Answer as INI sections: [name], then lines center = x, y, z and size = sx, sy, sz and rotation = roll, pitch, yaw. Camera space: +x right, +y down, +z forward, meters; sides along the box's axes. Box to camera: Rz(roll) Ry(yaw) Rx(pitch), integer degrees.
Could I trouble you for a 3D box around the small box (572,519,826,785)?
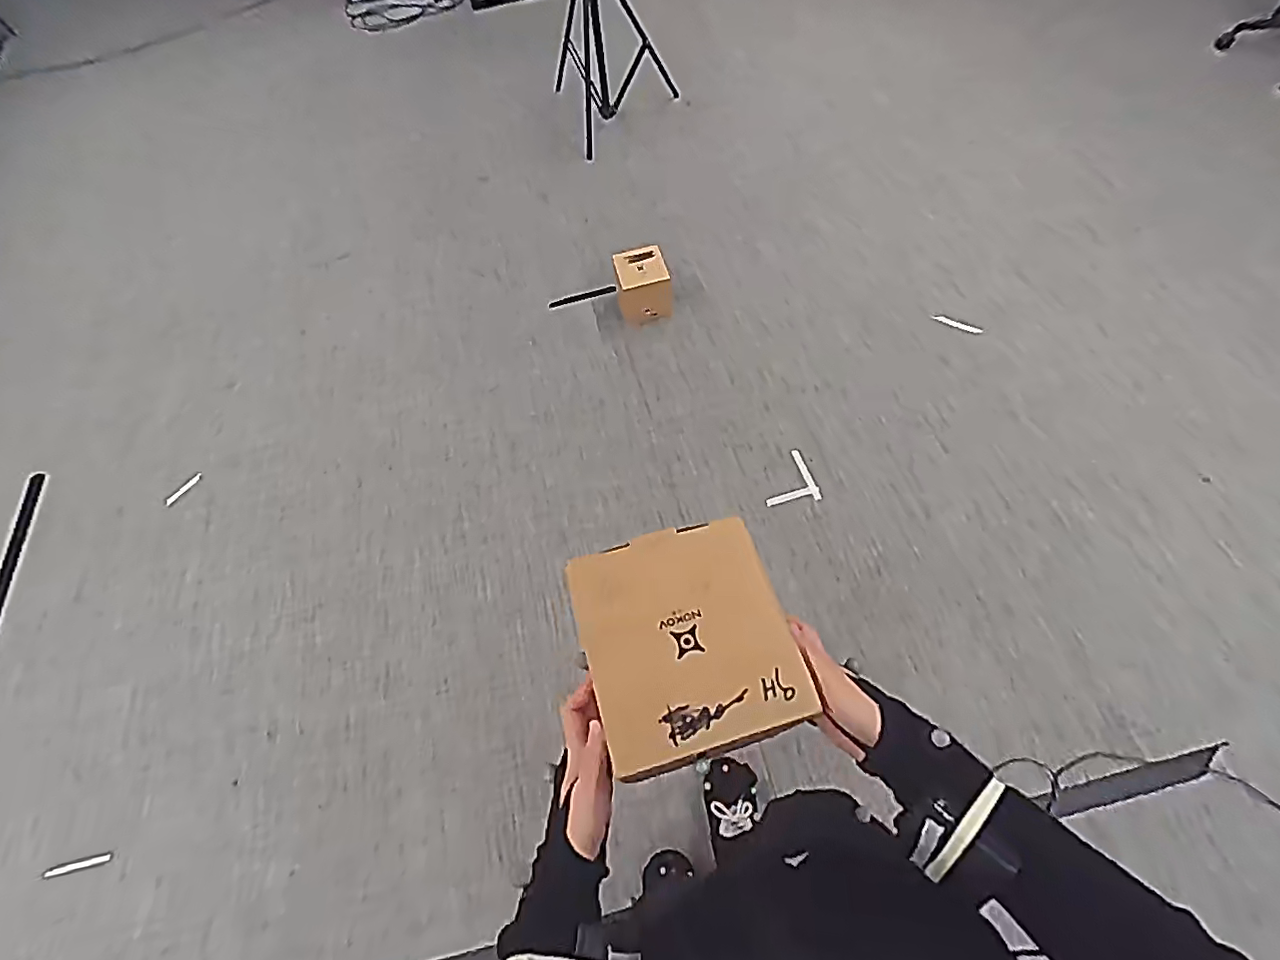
[small box]
center = 0.041, 0.165, 0.506
size = 0.168, 0.176, 0.179
rotation = -15, 60, -7
